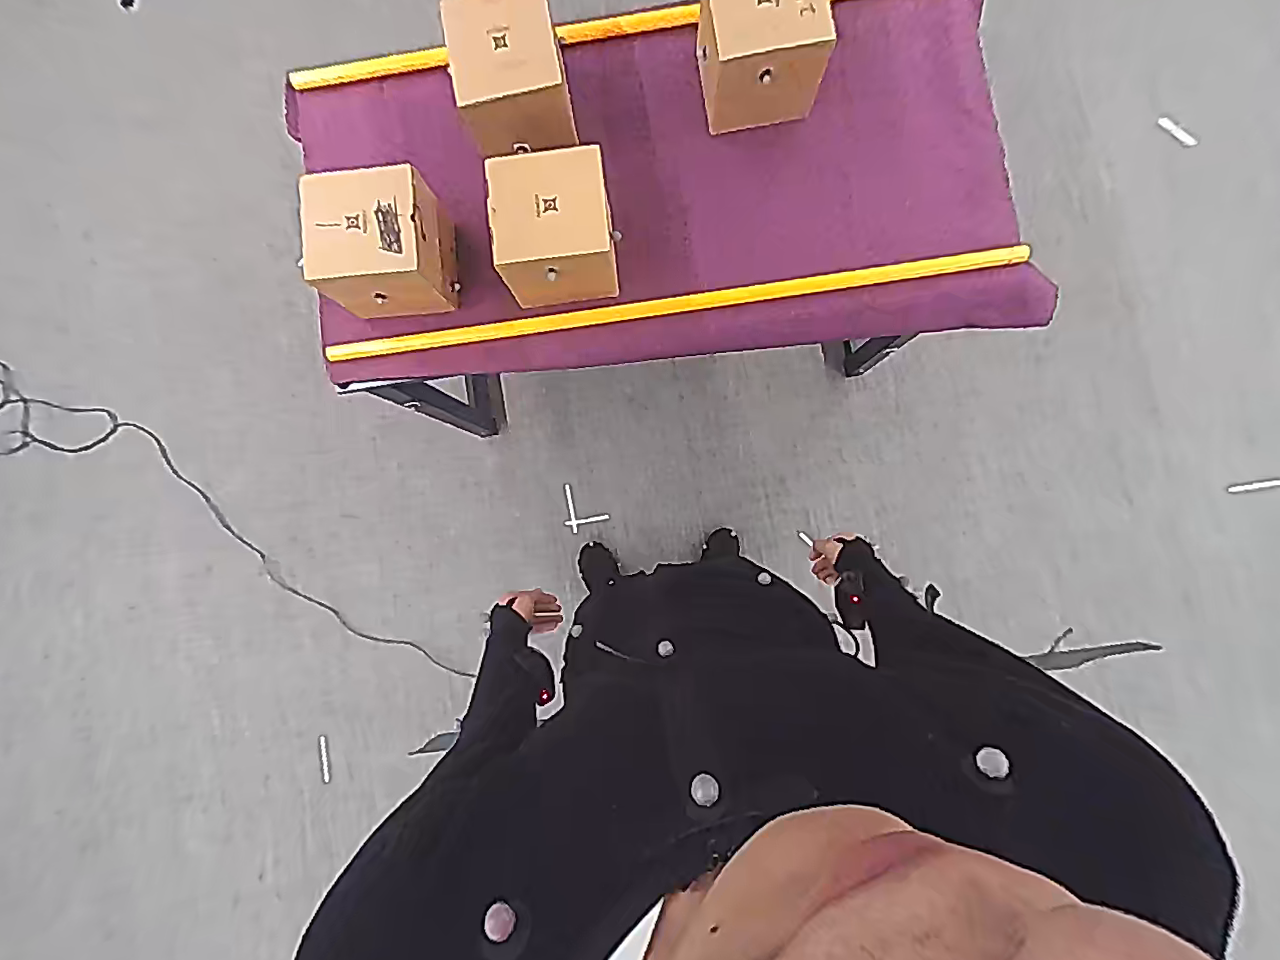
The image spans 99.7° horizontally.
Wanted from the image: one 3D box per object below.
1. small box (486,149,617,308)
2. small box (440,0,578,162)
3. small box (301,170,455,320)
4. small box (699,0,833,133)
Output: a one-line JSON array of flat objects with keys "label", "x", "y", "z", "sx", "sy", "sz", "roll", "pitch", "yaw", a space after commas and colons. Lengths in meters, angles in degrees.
[{"label": "small box", "x": -0.132, "y": -0.395, "z": 0.875, "sx": 0.179, "sy": 0.176, "sz": 0.168, "roll": -6, "pitch": 86, "yaw": 3}, {"label": "small box", "x": -0.207, "y": -0.654, "z": 0.893, "sx": 0.168, "sy": 0.176, "sz": 0.179, "roll": -11, "pitch": 87, "yaw": 3}, {"label": "small box", "x": -0.414, "y": -0.372, "z": 0.883, "sx": 0.179, "sy": 0.176, "sz": 0.168, "roll": -4, "pitch": 86, "yaw": 2}, {"label": "small box", "x": 0.192, "y": -0.701, "z": 0.877, "sx": 0.179, "sy": 0.176, "sz": 0.168, "roll": -9, "pitch": 88, "yaw": 2}]
